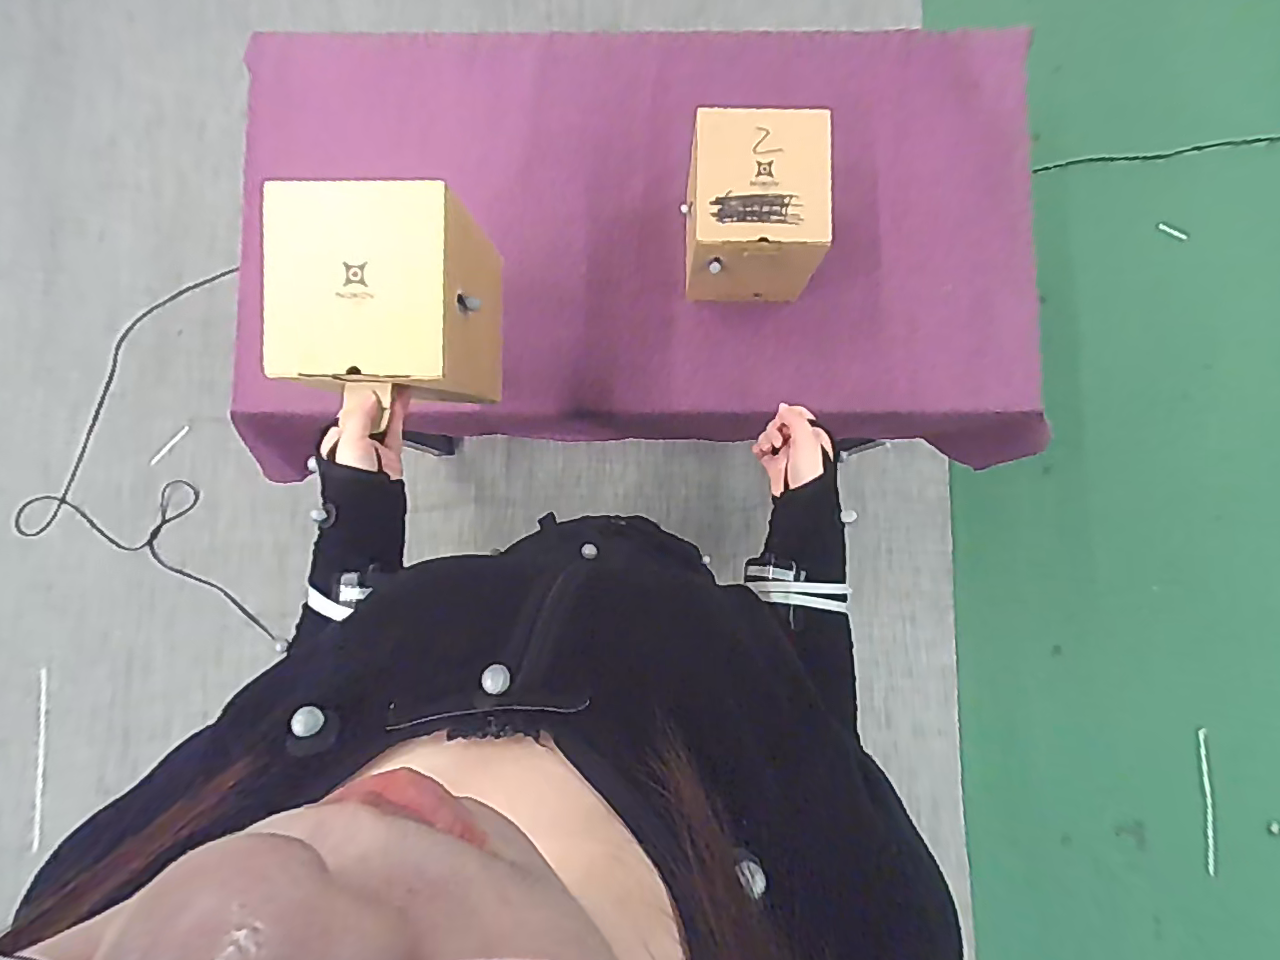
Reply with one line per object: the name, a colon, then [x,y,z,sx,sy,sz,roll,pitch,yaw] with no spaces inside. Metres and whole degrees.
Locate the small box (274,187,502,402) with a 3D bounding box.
small box: [-0.252,-0.183,0.578,0.168,0.176,0.179,1,92,2]
